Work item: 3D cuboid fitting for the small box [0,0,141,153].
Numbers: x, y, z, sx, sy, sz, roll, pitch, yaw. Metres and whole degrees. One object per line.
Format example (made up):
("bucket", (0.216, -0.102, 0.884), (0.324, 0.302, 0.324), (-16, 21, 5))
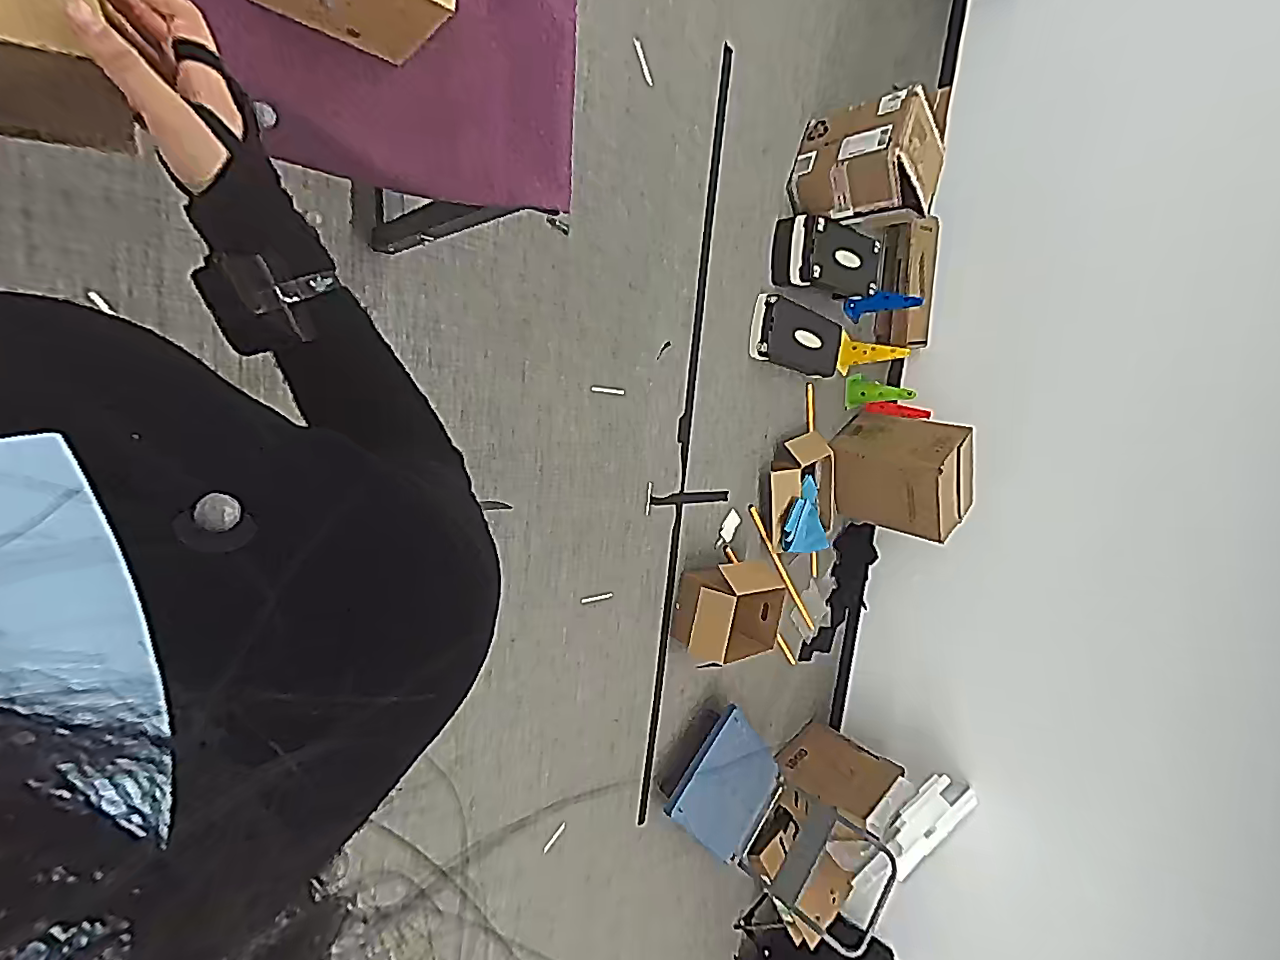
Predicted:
("small box", (-0.419, -0.320, 0.313), (0.168, 0.176, 0.179), (-11, 104, -38))

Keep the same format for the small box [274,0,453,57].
("small box", (-0.305, -0.592, 0.561), (0.168, 0.176, 0.179), (-5, 104, -43))
